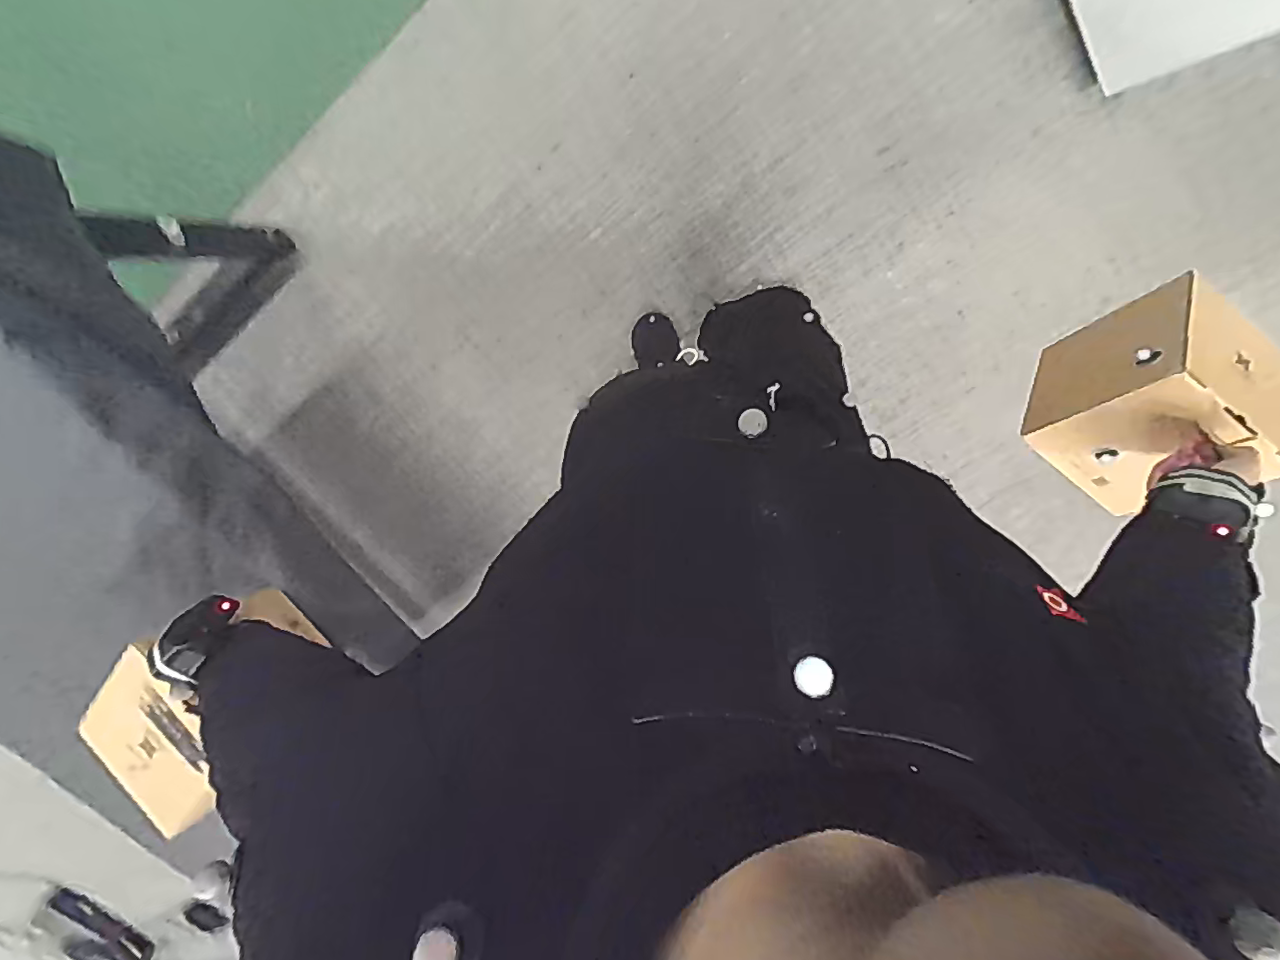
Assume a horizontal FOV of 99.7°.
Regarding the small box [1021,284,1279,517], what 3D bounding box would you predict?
[{"bbox_3d":[0.596,-0.083,0.639,0.168,0.179,0.176,38,154,-5],"label":"small box"}]
